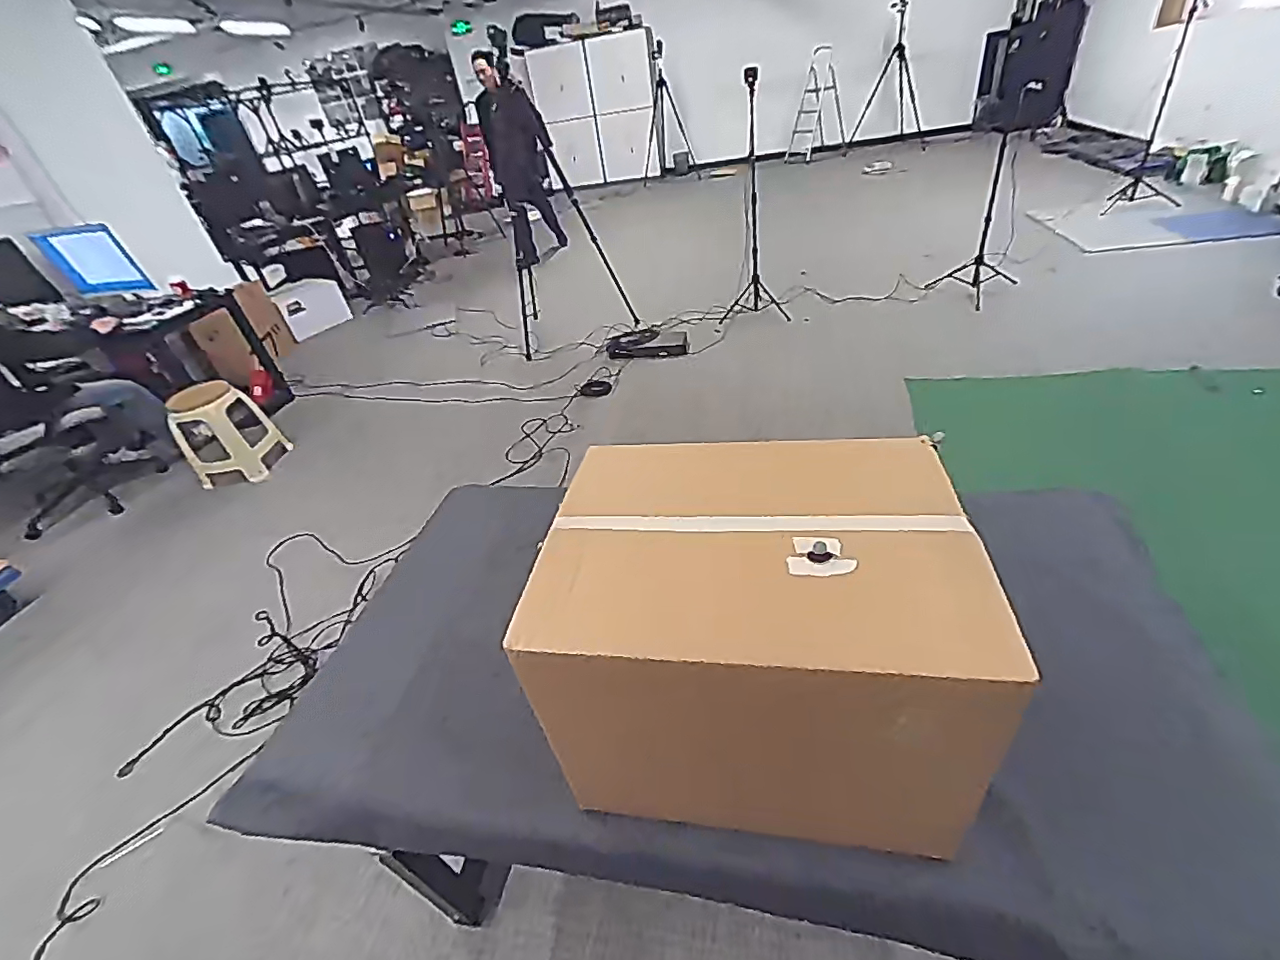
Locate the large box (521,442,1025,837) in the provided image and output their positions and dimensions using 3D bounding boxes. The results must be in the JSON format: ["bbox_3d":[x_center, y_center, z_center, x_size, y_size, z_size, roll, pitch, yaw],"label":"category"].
[{"bbox_3d":[0.128,0.168,0.632,0.408,0.320,0.320,0,38,12],"label":"large box"}]
